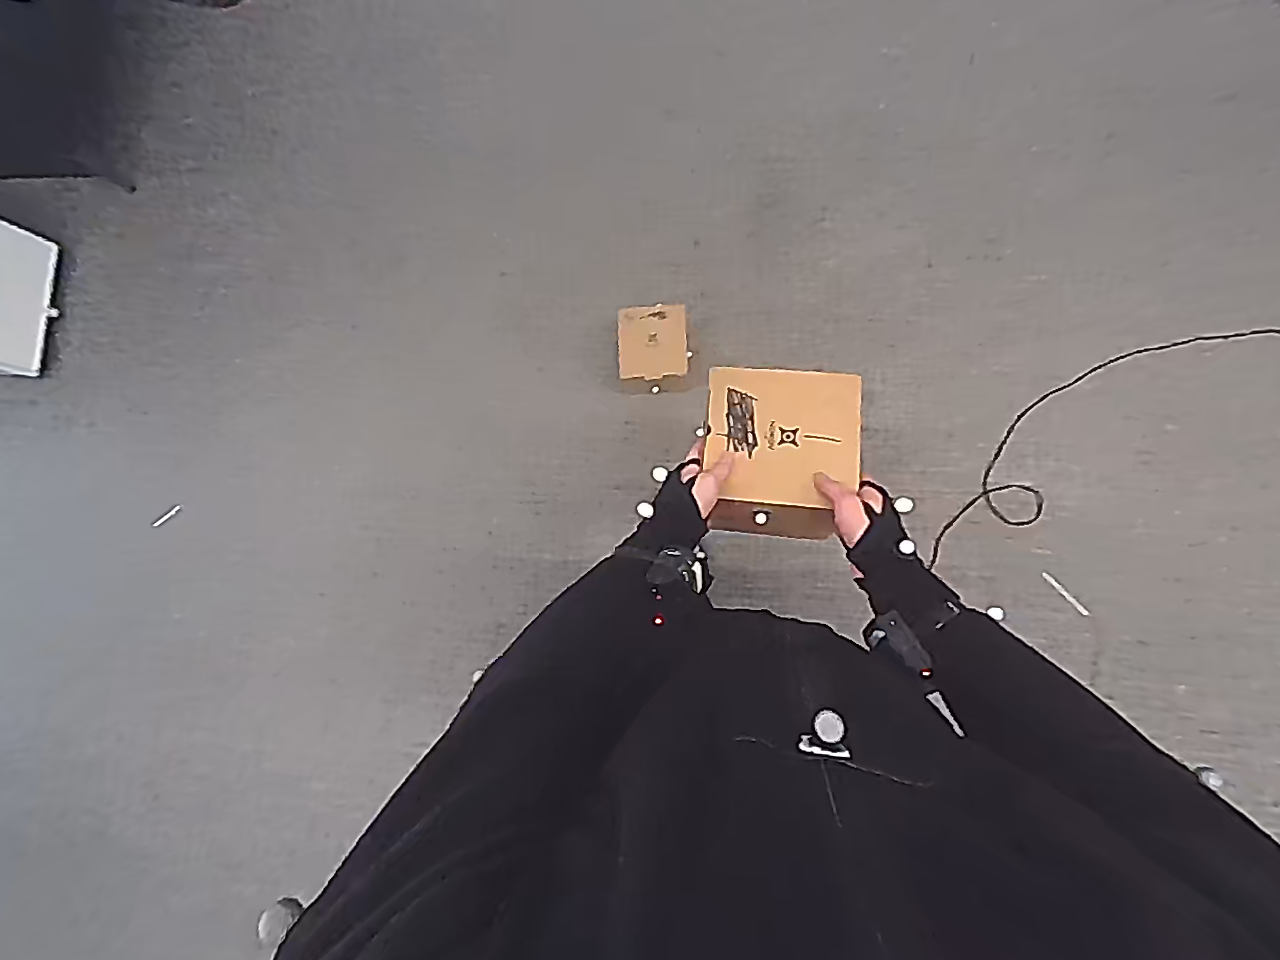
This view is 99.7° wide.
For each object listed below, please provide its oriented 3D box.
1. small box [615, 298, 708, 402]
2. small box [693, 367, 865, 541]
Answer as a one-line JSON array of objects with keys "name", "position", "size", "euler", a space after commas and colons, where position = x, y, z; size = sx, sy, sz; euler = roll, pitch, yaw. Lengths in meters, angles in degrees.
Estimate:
[{"name": "small box", "position": [0.062, -0.323, 1.387], "size": [0.179, 0.176, 0.168], "euler": [-33, 80, 4]}, {"name": "small box", "position": [0.172, -0.026, 0.695], "size": [0.179, 0.176, 0.168], "euler": [9, 75, 11]}]
